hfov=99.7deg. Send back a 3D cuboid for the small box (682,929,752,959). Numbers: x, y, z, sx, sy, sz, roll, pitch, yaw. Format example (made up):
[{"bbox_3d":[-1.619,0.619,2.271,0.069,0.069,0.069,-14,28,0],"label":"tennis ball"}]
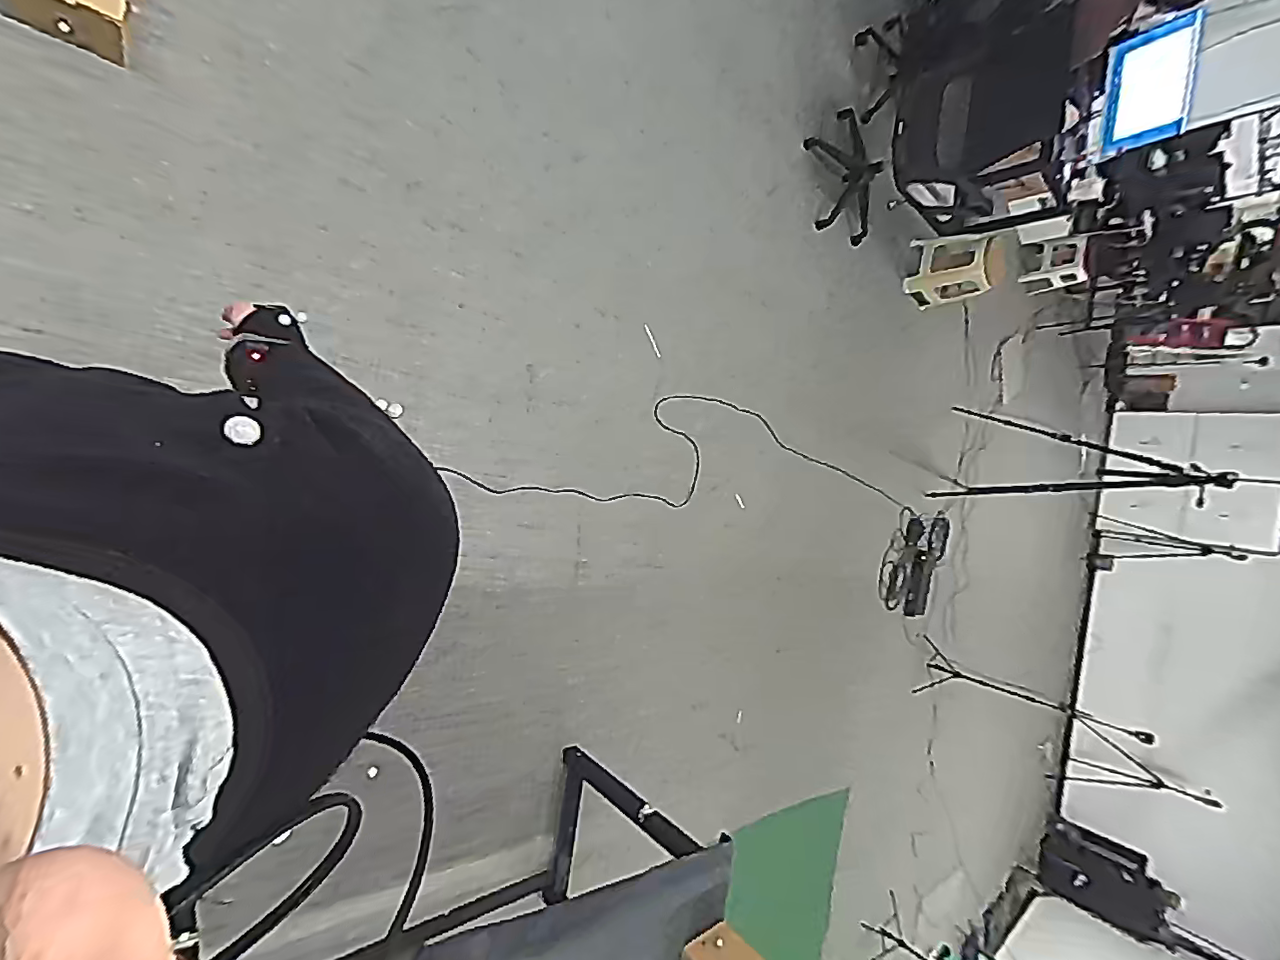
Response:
[{"bbox_3d":[0.207,1.309,1.370,0.168,0.176,0.179,9,89,-42],"label":"small box"}]

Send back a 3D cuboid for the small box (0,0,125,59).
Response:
[{"bbox_3d":[-1.042,-0.915,0.965,0.168,0.176,0.179,8,90,-42],"label":"small box"}]
